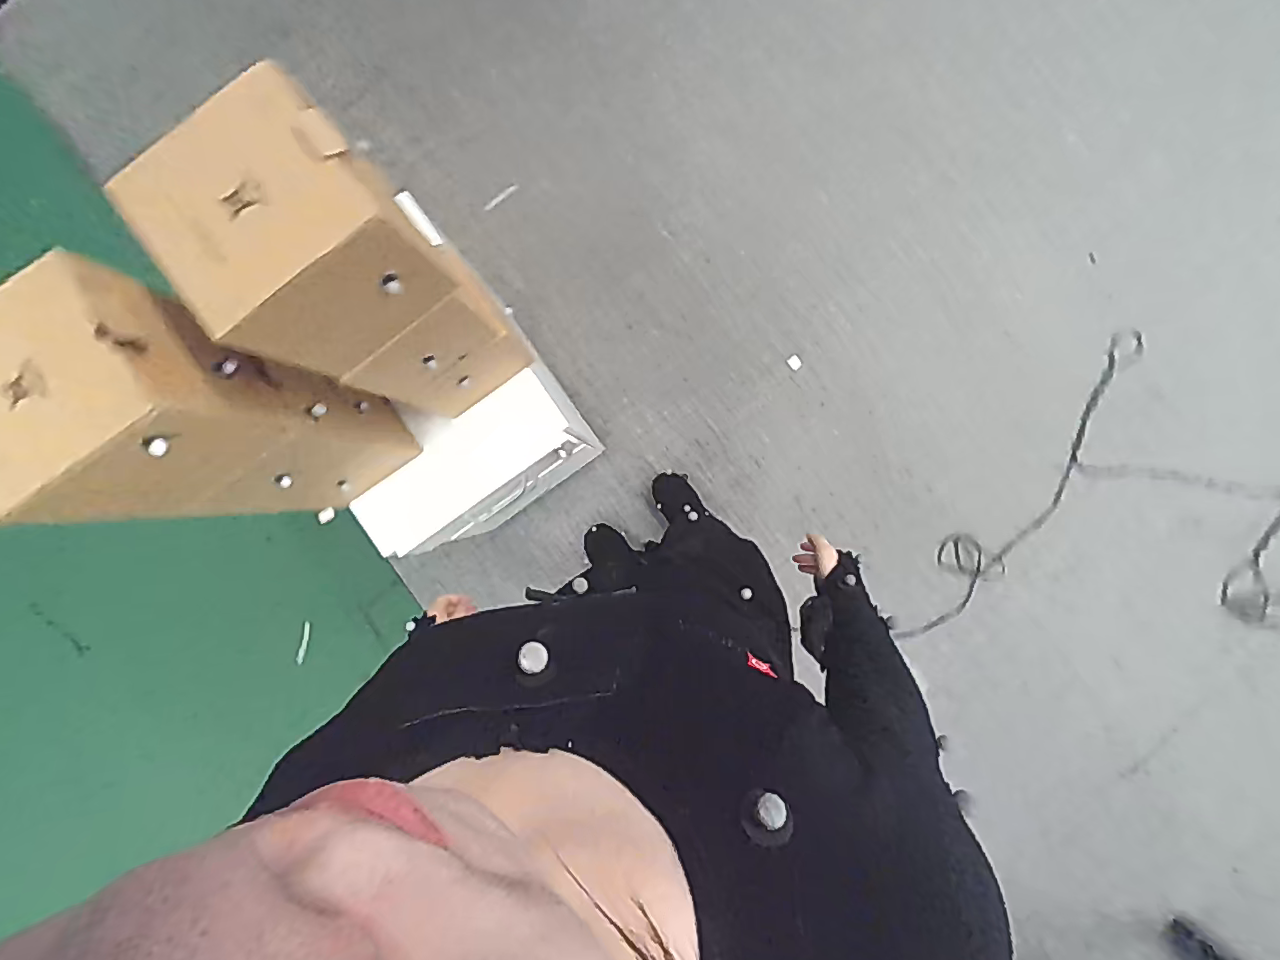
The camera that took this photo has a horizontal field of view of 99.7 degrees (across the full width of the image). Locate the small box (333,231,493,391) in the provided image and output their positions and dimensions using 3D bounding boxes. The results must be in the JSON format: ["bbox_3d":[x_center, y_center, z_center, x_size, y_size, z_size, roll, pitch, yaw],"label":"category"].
[{"bbox_3d":[-0.317,-0.229,0.689,0.168,0.176,0.179,-37,88,2],"label":"small box"}]

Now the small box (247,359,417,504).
[{"bbox_3d":[-0.495,-0.075,0.859,0.179,0.176,0.168,-35,89,0],"label":"small box"}]

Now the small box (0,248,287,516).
[{"bbox_3d":[-0.507,-0.079,0.532,0.179,0.176,0.168,-35,88,0],"label":"small box"}]

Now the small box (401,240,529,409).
[{"bbox_3d":[-0.303,-0.229,0.852,0.179,0.176,0.168,-35,89,2],"label":"small box"}]

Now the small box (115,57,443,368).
[{"bbox_3d":[-0.319,-0.234,0.525,0.179,0.176,0.168,-36,88,3],"label":"small box"}]
